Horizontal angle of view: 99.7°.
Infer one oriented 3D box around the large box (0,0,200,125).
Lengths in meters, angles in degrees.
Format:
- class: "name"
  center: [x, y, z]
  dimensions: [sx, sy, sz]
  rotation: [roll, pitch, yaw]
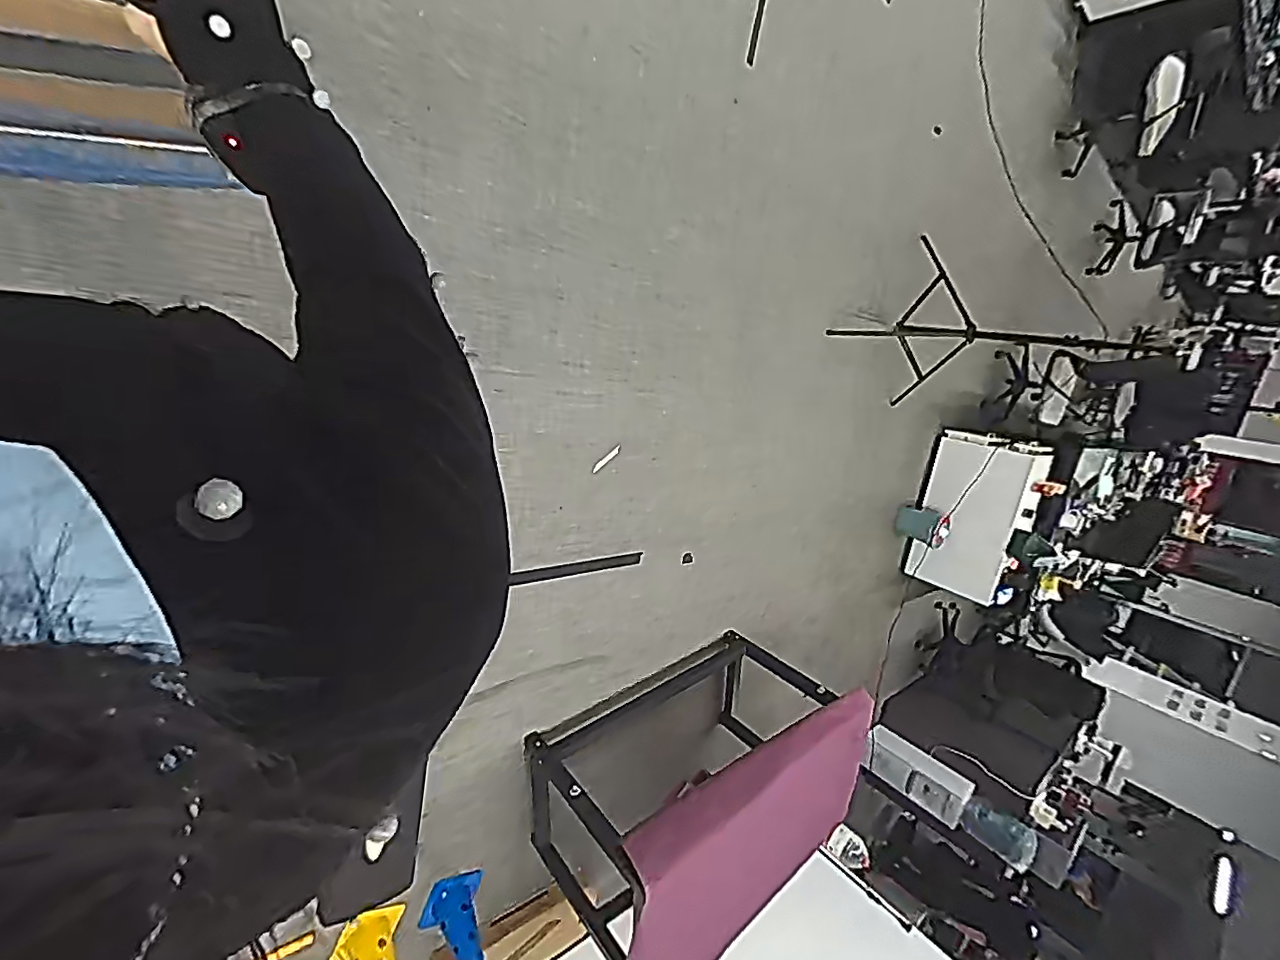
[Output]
- class: "large box"
  center: [-0.822, -0.660, 0.641]
  dimensions: [0.408, 0.320, 0.320]
  rotation: [-16, 116, -37]
